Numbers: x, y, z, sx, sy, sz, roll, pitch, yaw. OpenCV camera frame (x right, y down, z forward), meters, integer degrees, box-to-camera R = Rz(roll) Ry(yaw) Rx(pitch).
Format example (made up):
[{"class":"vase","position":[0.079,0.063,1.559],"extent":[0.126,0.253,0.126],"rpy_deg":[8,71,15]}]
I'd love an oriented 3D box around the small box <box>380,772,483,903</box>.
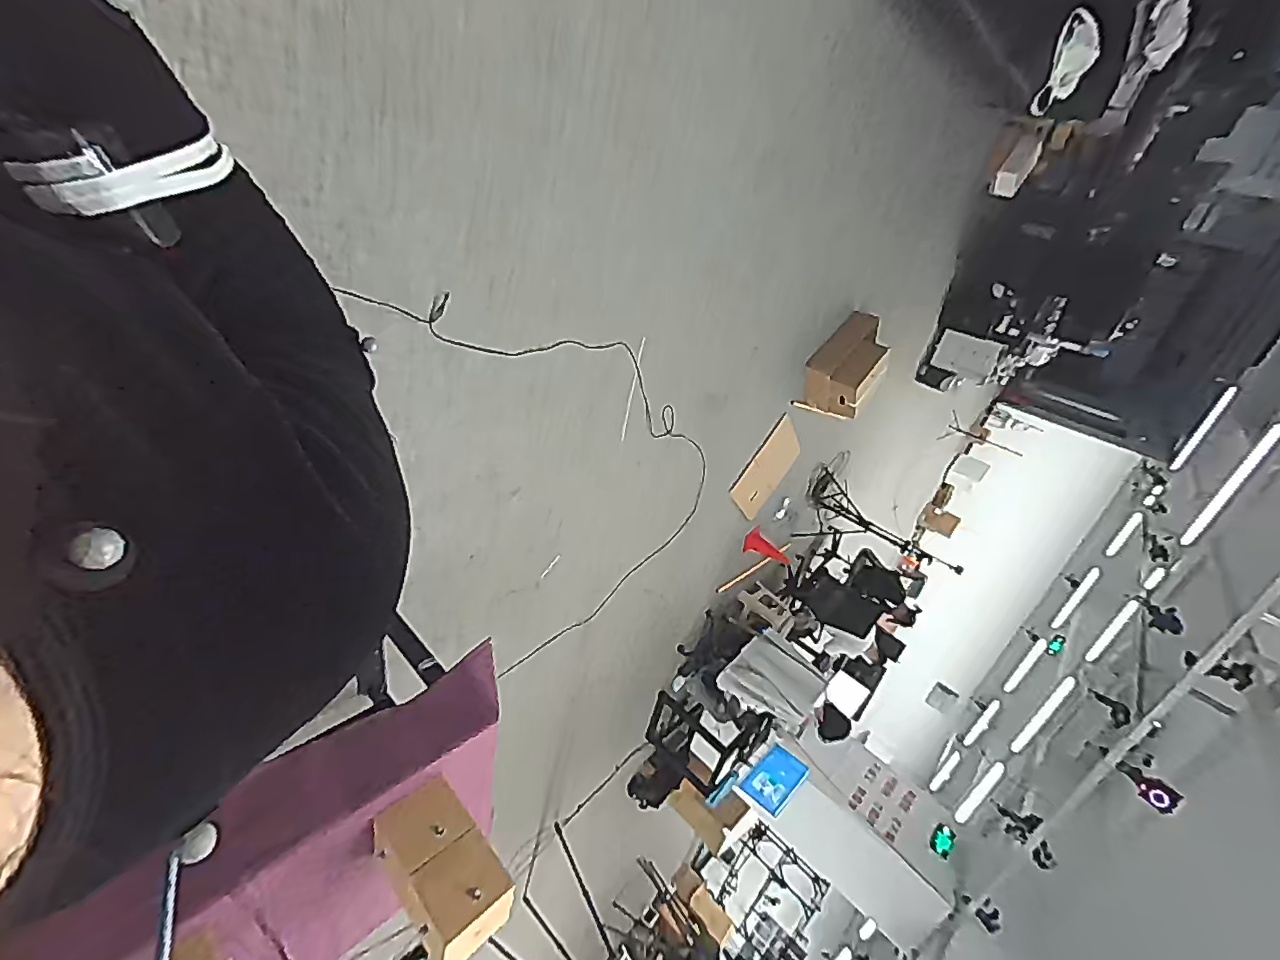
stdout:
[{"class":"small box","position":[-0.514,0.868,1.331],"extent":[0.179,0.176,0.168],"rpy_deg":[-17,130,-45]}]

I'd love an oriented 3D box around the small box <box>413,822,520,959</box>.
[{"class":"small box","position":[-0.403,0.946,1.241],"extent":[0.179,0.176,0.168],"rpy_deg":[-18,132,-46]}]

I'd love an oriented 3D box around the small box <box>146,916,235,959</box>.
[{"class":"small box","position":[-0.843,0.969,0.987],"extent":[0.179,0.176,0.168],"rpy_deg":[-18,132,-46]}]
